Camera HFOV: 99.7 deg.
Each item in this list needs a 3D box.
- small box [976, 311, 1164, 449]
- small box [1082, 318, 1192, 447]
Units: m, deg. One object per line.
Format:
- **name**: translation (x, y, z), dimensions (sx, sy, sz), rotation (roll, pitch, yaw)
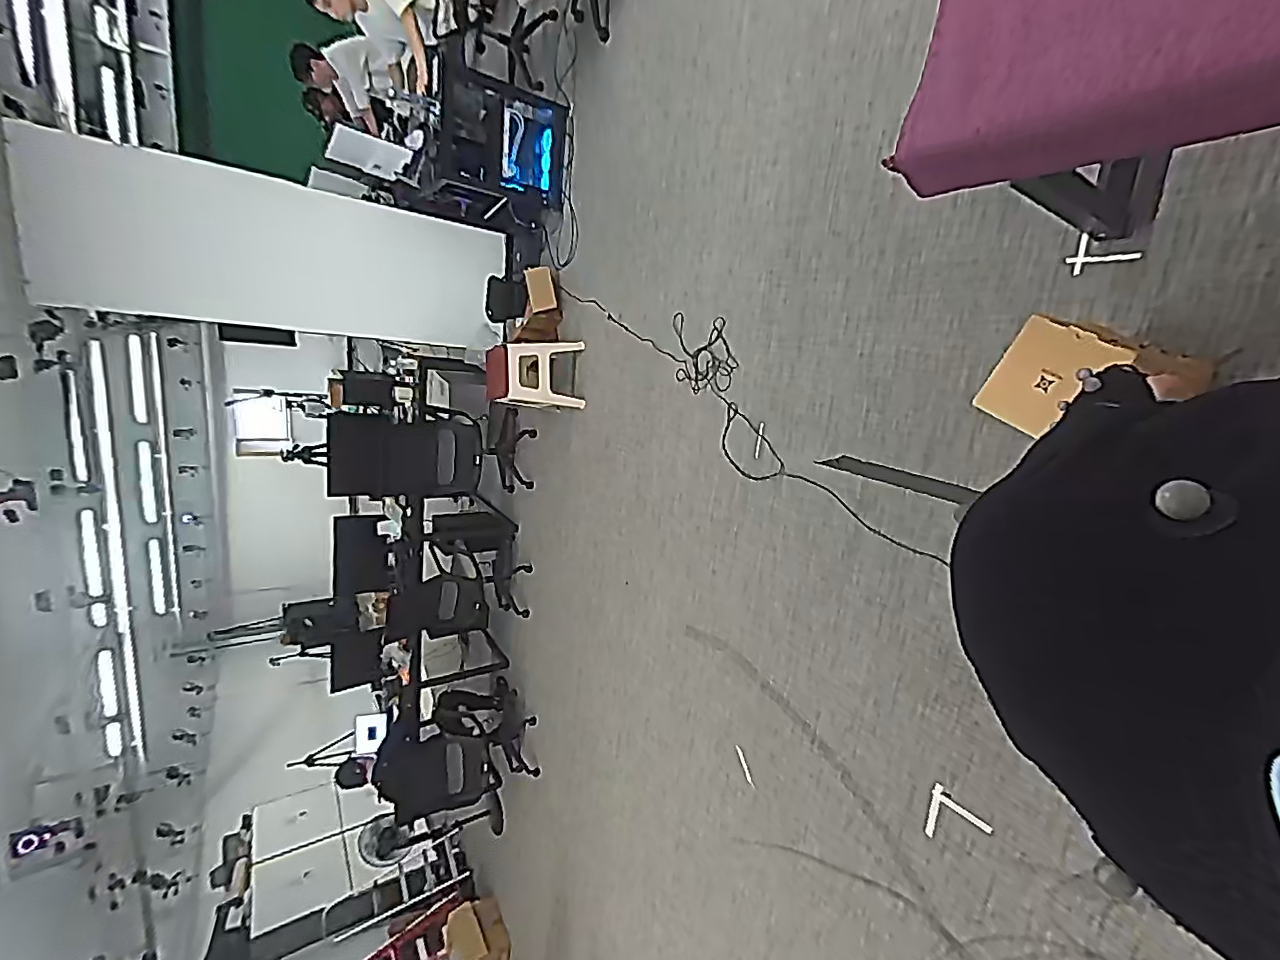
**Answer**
- **small box**: translation (0.738, -0.168, 0.929), dimensions (0.168, 0.176, 0.179), rotation (49, 131, 41)
- **small box**: translation (0.875, -0.181, 1.018), dimensions (0.168, 0.176, 0.179), rotation (56, 136, 36)
